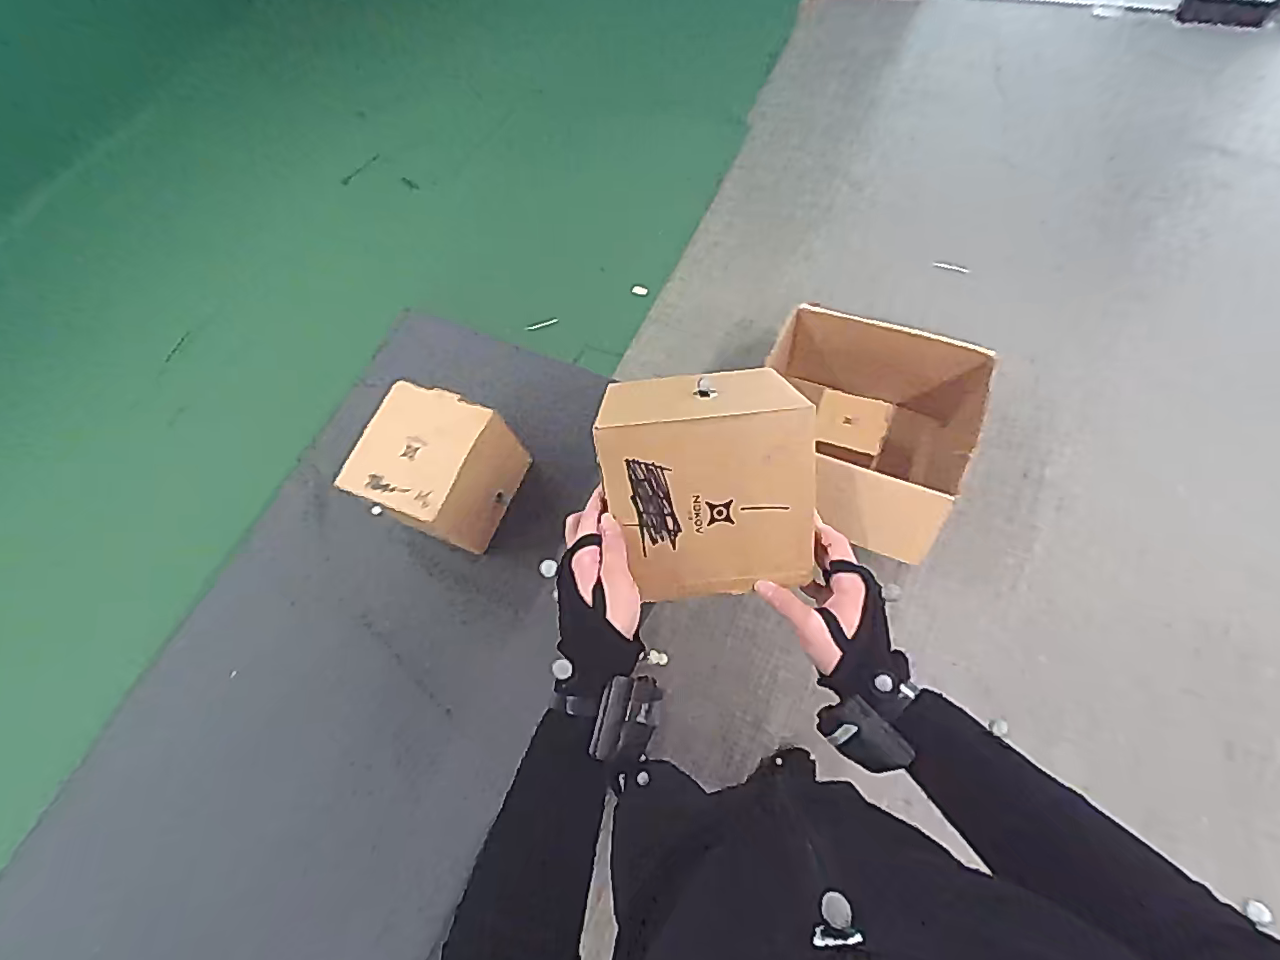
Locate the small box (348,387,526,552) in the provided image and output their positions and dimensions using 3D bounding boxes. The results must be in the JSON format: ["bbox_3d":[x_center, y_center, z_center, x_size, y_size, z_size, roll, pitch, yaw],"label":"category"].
[{"bbox_3d":[-0.292,-0.010,0.829,0.168,0.176,0.179,17,71,13],"label":"small box"}]

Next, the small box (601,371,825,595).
[{"bbox_3d":[0.061,-0.006,0.522,0.179,0.168,0.176,-1,24,2],"label":"small box"}]
